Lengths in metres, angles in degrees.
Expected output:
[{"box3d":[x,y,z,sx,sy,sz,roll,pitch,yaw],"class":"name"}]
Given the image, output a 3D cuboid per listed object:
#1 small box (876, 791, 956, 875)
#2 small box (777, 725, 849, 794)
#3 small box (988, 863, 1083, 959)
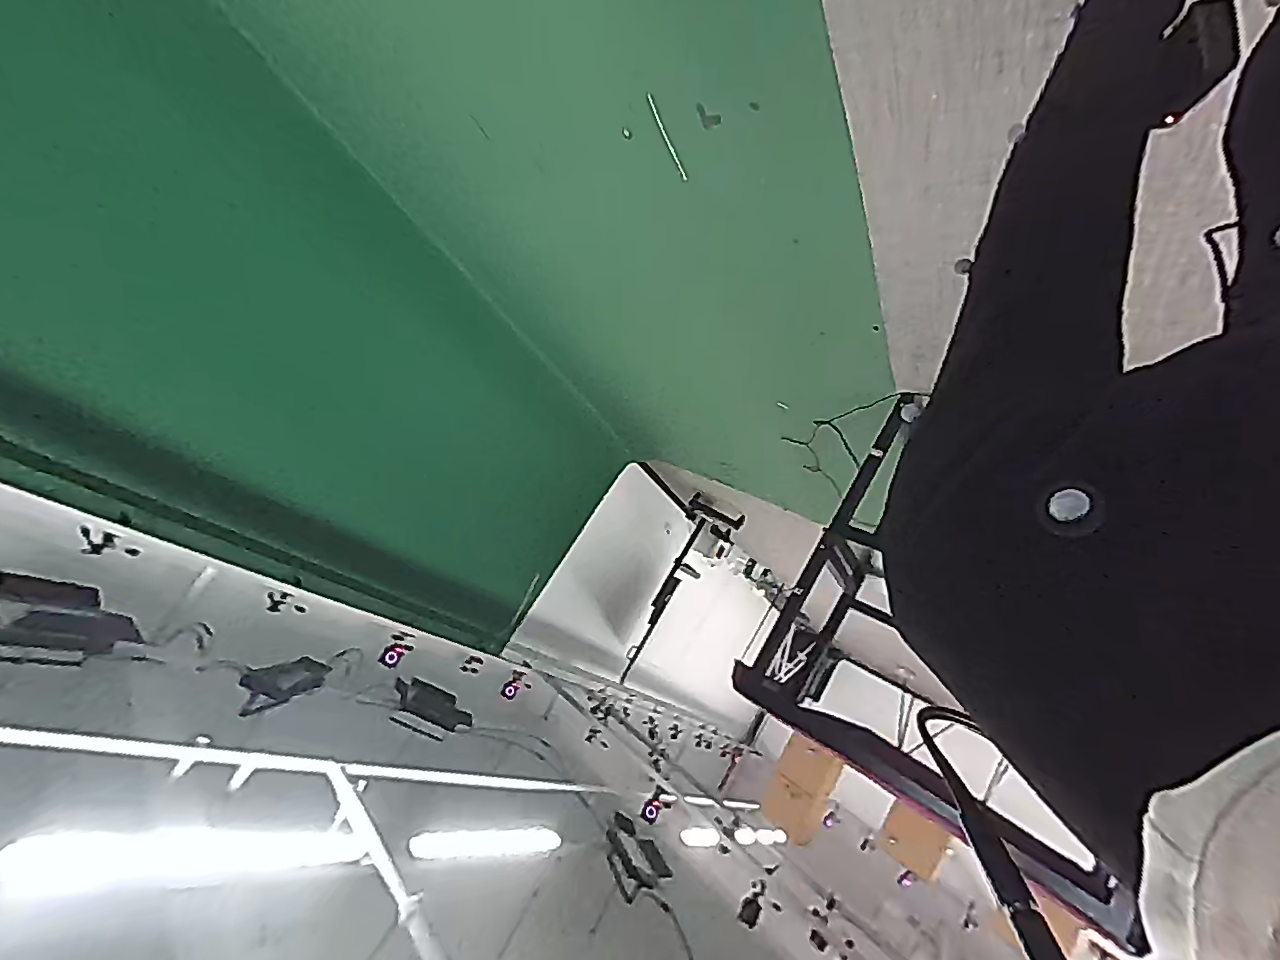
[{"box3d":[0.906,1.145,1.769,0.179,0.176,0.168,23,166,41],"class":"small box"},{"box3d":[0.647,1.034,2.014,0.179,0.176,0.168,23,168,42],"class":"small box"},{"box3d":[1.128,1.237,1.541,0.179,0.176,0.168,24,166,44],"class":"small box"}]
